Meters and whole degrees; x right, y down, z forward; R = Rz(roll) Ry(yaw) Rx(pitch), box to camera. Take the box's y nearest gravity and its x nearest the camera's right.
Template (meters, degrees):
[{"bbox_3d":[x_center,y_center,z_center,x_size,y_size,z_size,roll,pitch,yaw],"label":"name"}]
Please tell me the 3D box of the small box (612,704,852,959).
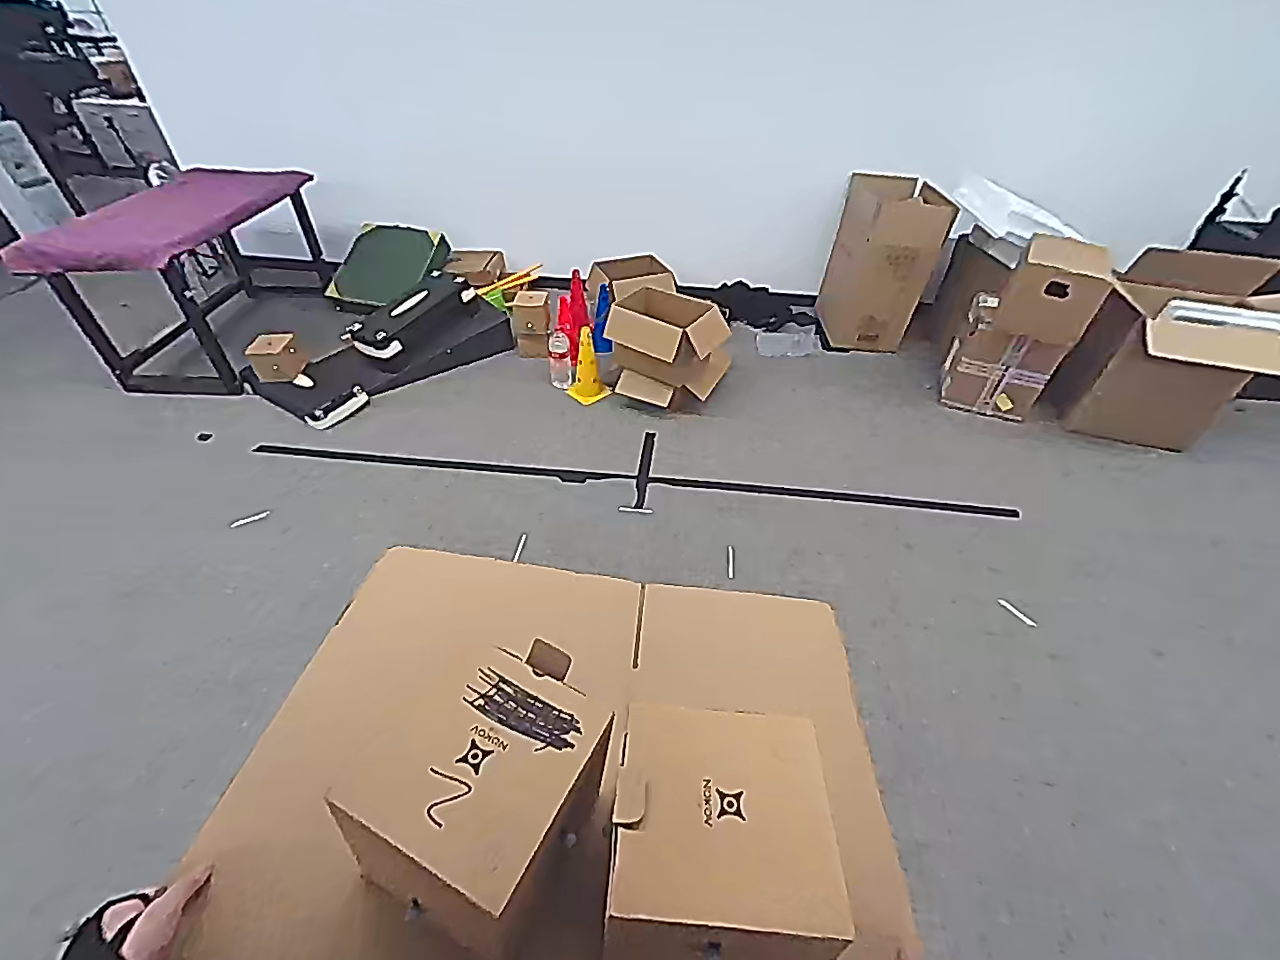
[{"bbox_3d":[0.070,0.336,0.502,0.179,0.176,0.168,4,36,2],"label":"small box"}]
